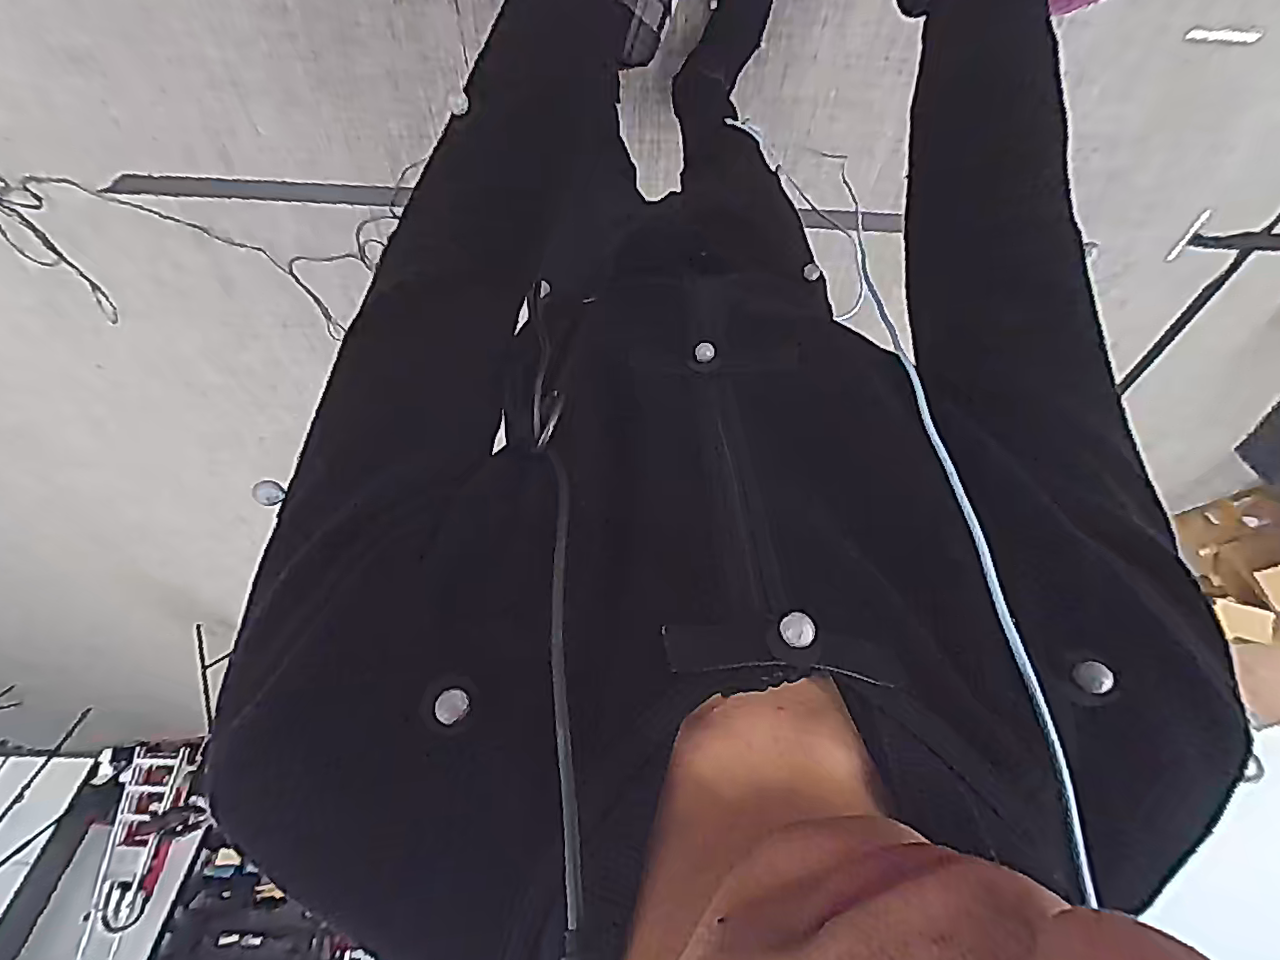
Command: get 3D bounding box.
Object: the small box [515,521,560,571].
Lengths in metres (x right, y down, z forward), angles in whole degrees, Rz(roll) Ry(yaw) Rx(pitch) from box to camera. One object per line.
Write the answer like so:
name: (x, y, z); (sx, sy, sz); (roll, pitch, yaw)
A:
small box: (-0.465, 0.304, 2.493); (0.179, 0.176, 0.168); (1, 140, 0)
